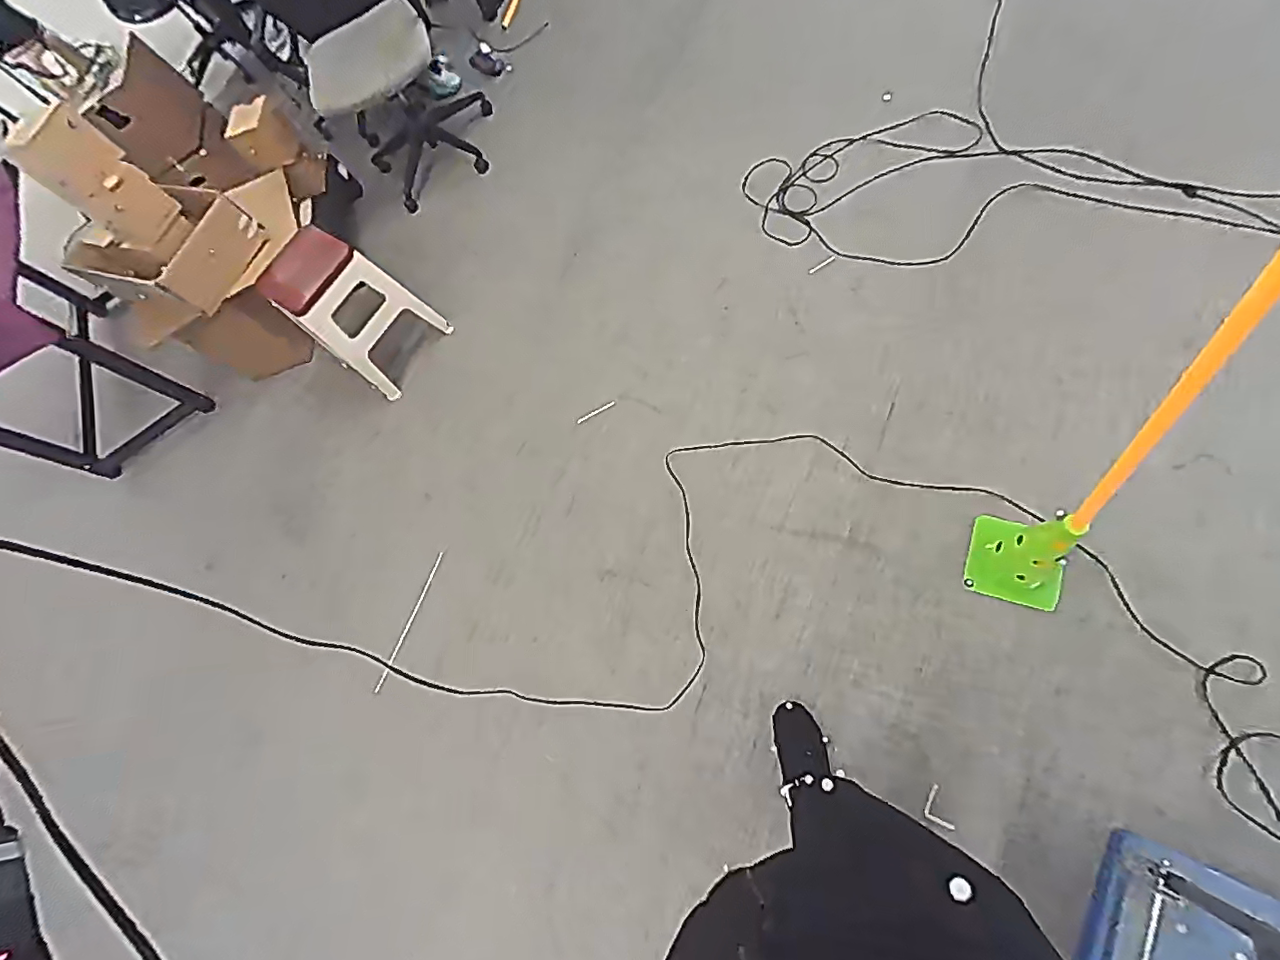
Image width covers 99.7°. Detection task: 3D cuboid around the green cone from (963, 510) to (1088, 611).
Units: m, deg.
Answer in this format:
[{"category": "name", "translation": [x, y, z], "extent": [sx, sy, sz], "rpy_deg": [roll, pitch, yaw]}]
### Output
[{"category": "green cone", "translation": [0.868, 0.142, 1.169], "extent": [0.200, 0.368, 0.202], "rpy_deg": [14, 74, 21]}]
